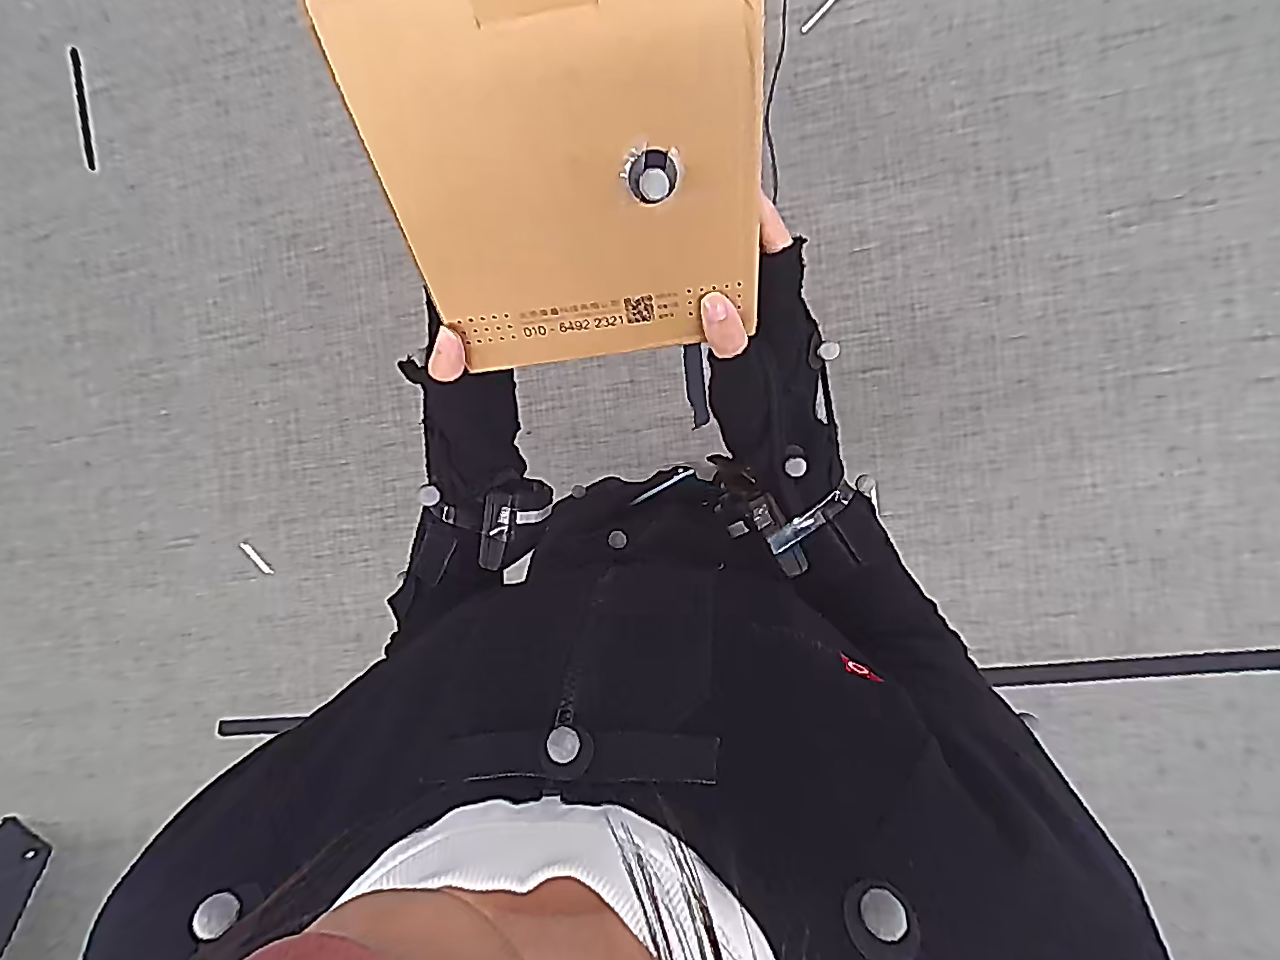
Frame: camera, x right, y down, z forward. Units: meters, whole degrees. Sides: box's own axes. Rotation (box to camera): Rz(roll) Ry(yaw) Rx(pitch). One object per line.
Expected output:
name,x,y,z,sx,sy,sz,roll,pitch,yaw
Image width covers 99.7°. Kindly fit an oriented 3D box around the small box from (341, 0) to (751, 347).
small box,-0.027,-0.192,0.317,0.168,0.176,0.179,-5,47,5
